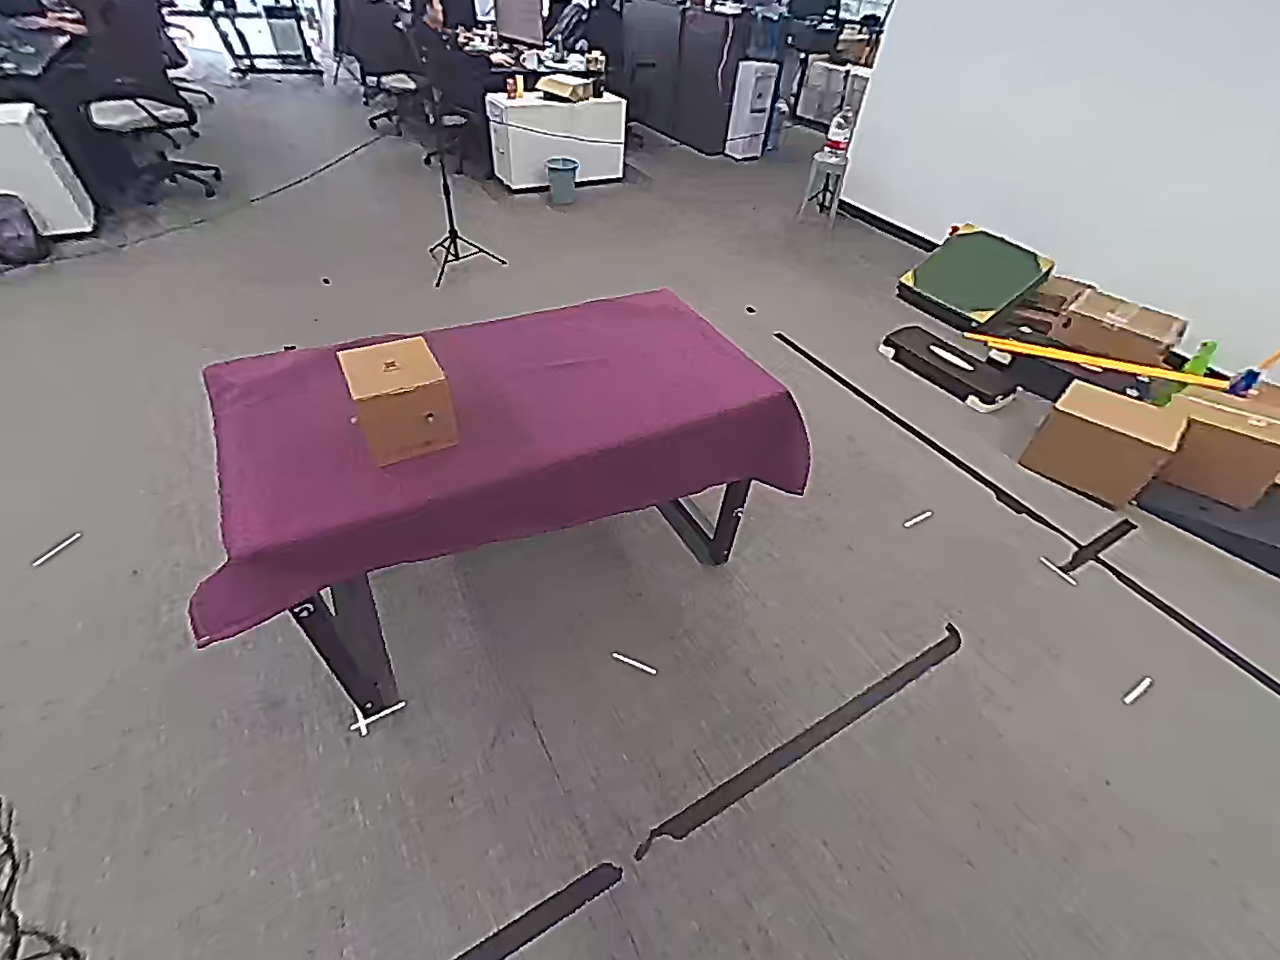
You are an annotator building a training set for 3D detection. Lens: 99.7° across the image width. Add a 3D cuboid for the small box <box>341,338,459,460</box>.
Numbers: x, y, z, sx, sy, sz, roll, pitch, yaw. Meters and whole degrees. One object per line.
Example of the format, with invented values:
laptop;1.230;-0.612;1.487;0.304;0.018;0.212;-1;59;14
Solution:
small box;-0.481;-0.159;1.097;0.168;0.176;0.179;-19;50;-24
